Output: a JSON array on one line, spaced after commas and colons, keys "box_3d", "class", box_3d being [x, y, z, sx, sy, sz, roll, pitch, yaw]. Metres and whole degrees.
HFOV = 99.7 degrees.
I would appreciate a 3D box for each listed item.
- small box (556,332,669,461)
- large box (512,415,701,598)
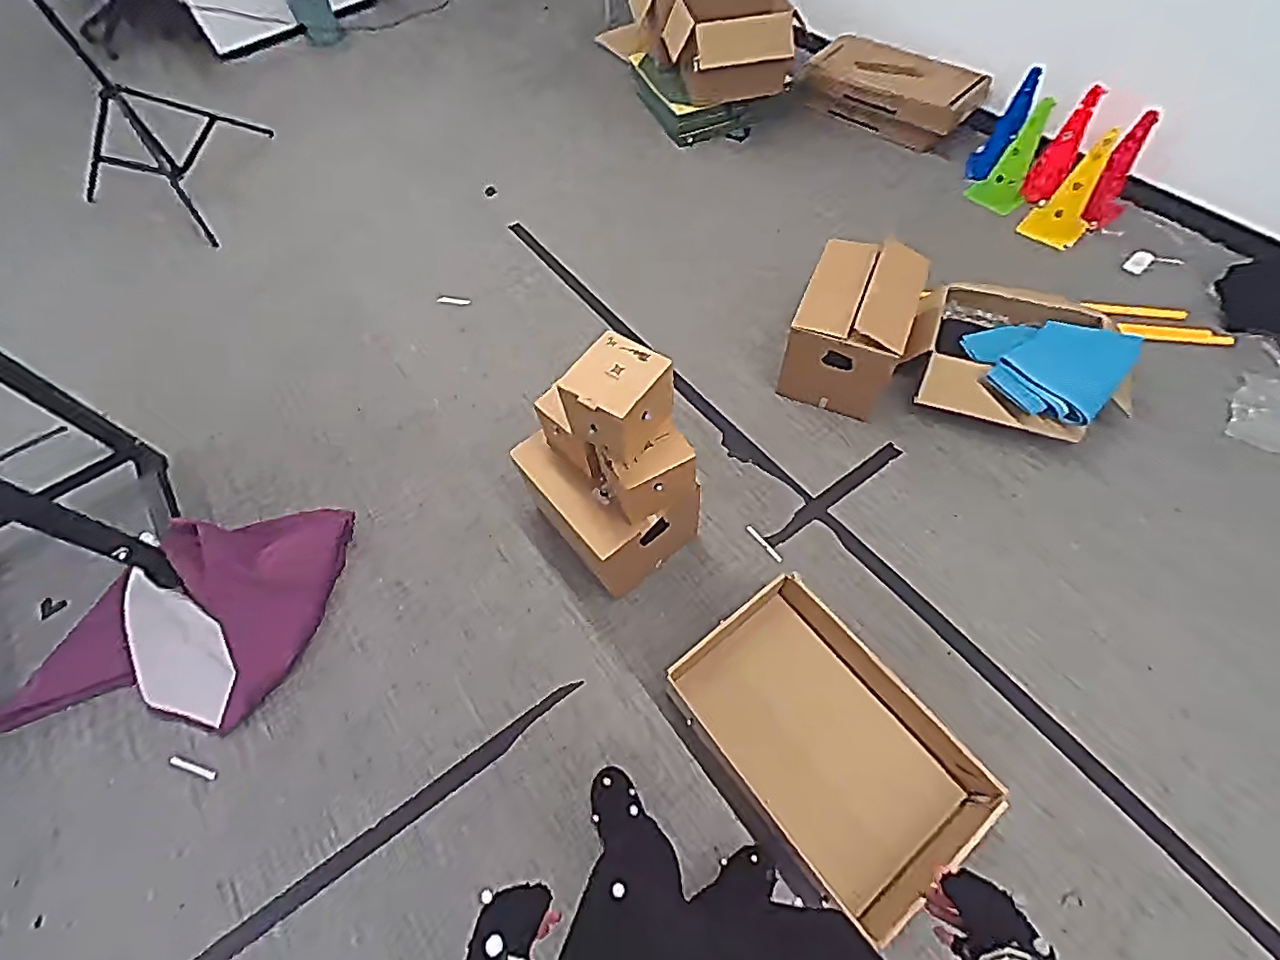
[{"box_3d": [-0.046, -0.171, 1.146, 0.168, 0.176, 0.179, 31, 68, 20], "class": "small box"}, {"box_3d": [-0.084, 0.047, 1.495, 0.320, 0.320, 0.408, -39, 66, -15], "class": "large box"}]
